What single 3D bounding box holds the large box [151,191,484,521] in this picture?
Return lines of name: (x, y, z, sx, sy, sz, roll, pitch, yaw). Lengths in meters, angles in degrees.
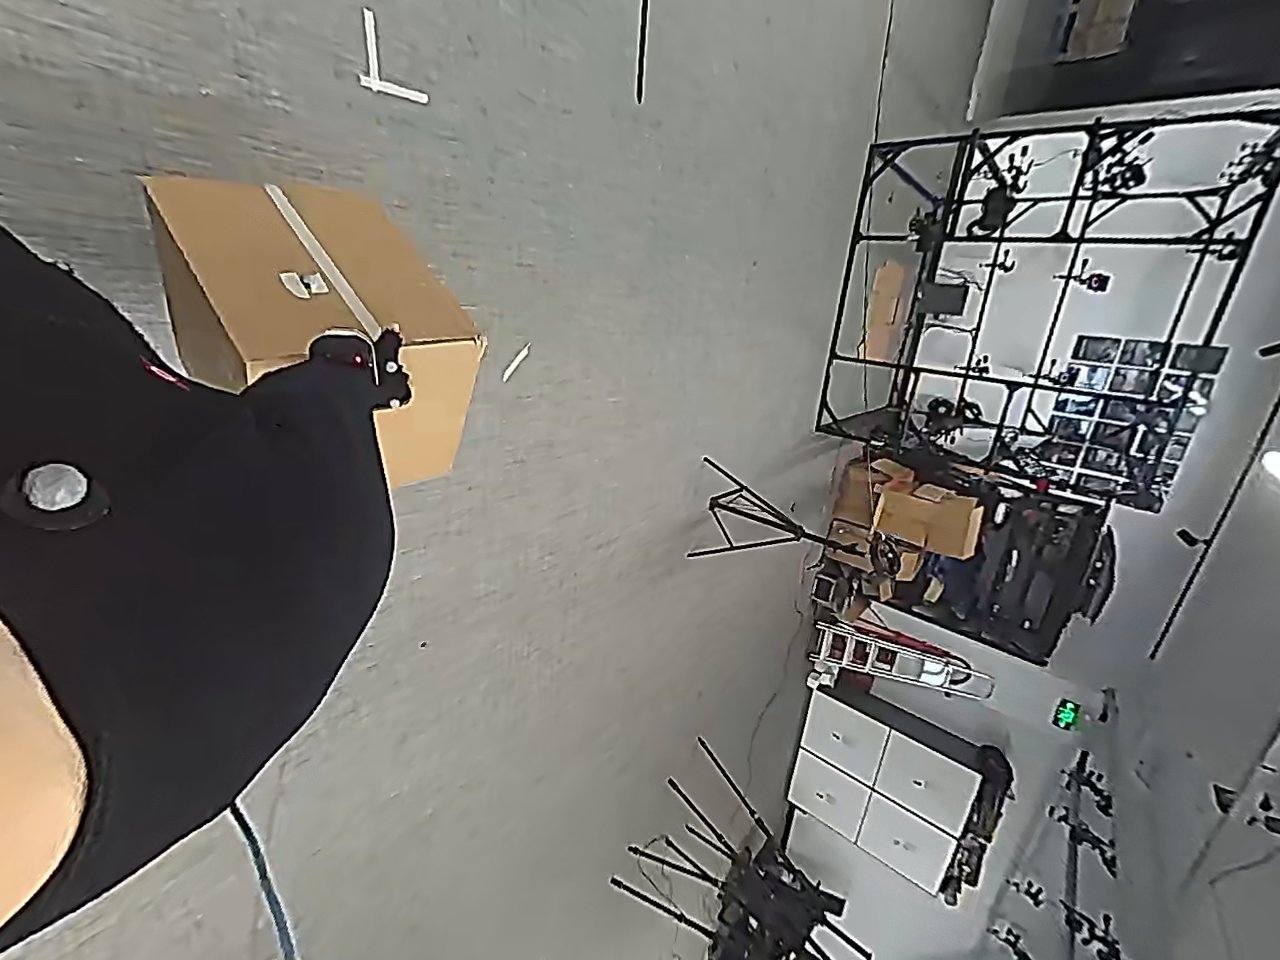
large box: (-0.530, -0.209, 0.900, 0.320, 0.408, 0.320, -22, 154, -43)
